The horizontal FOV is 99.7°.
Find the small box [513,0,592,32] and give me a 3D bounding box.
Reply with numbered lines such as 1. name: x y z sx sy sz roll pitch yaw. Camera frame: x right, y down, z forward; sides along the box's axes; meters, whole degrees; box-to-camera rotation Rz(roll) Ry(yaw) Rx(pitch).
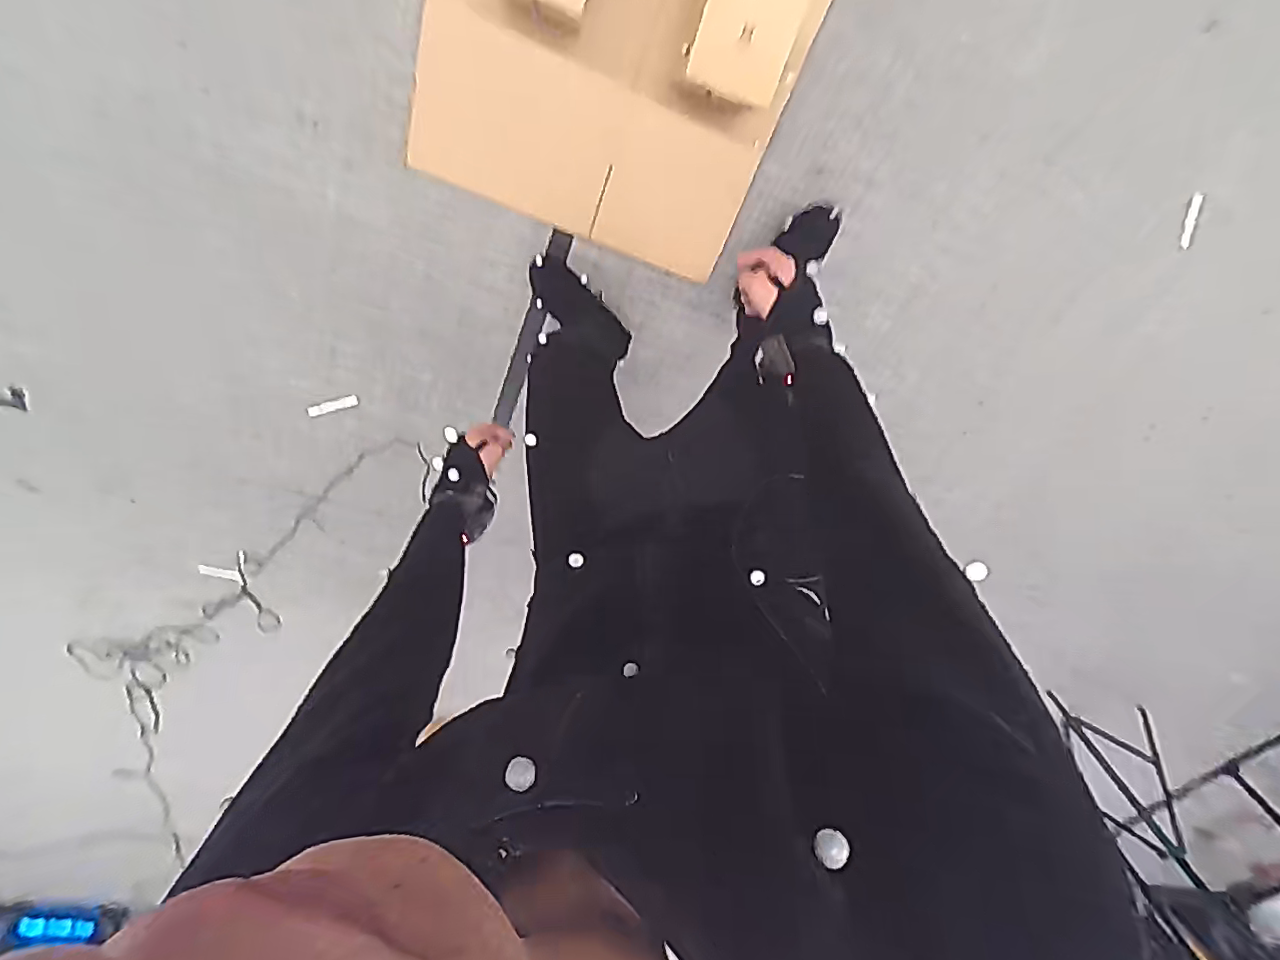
1. small box: -0.145 -0.884 0.887 0.168 0.176 0.179 16 121 -14

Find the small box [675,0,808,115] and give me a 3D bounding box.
1. small box: 0.172 -0.795 0.985 0.168 0.176 0.179 13 122 -13
